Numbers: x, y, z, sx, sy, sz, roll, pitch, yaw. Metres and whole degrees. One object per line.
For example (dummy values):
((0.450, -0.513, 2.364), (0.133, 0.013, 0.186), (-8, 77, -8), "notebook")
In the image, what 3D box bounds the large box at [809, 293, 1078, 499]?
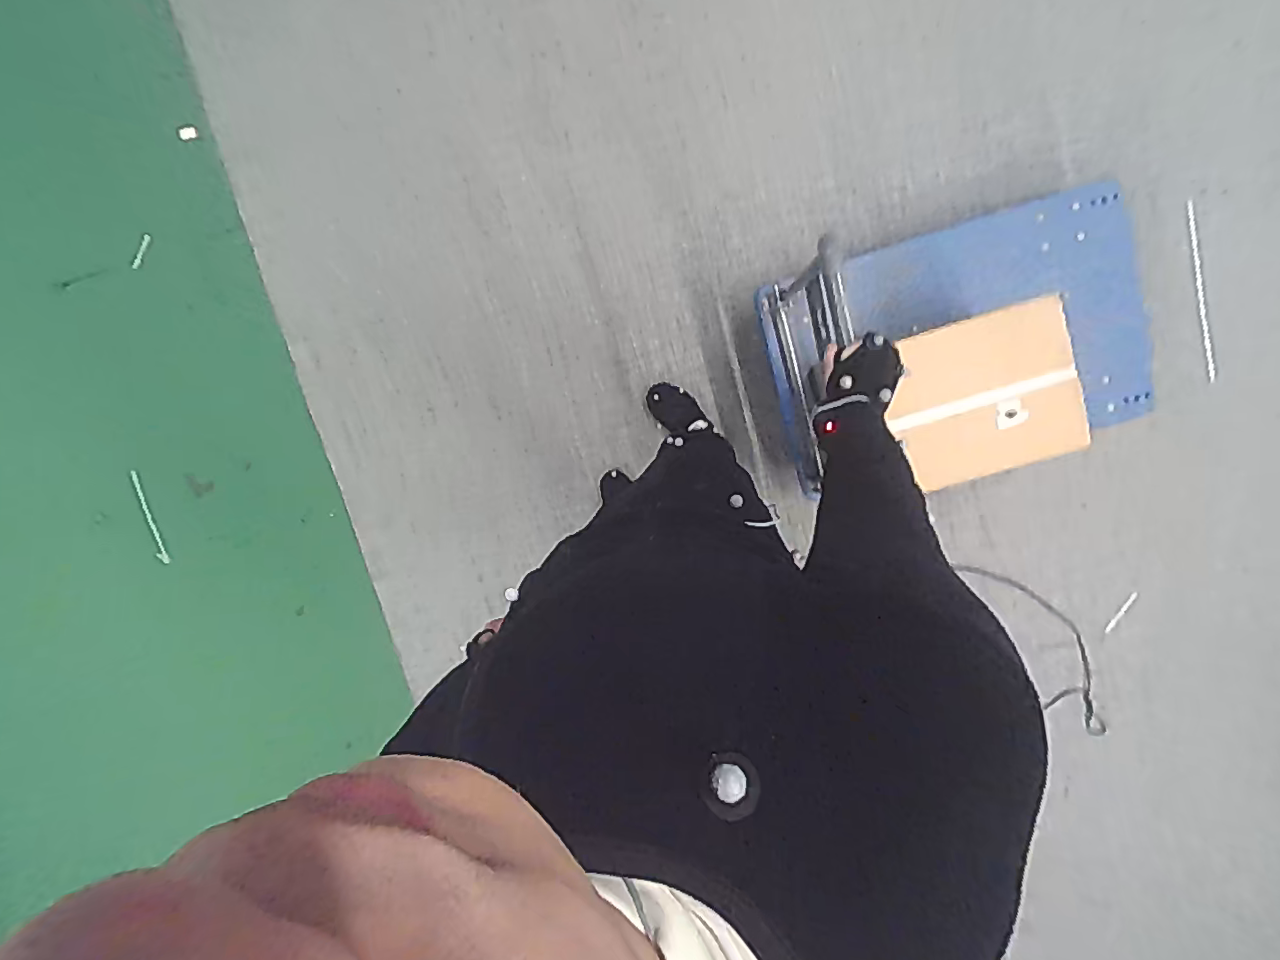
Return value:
((0.651, -0.183, 1.227), (0.408, 0.320, 0.320), (-17, 99, 6), "large box")
